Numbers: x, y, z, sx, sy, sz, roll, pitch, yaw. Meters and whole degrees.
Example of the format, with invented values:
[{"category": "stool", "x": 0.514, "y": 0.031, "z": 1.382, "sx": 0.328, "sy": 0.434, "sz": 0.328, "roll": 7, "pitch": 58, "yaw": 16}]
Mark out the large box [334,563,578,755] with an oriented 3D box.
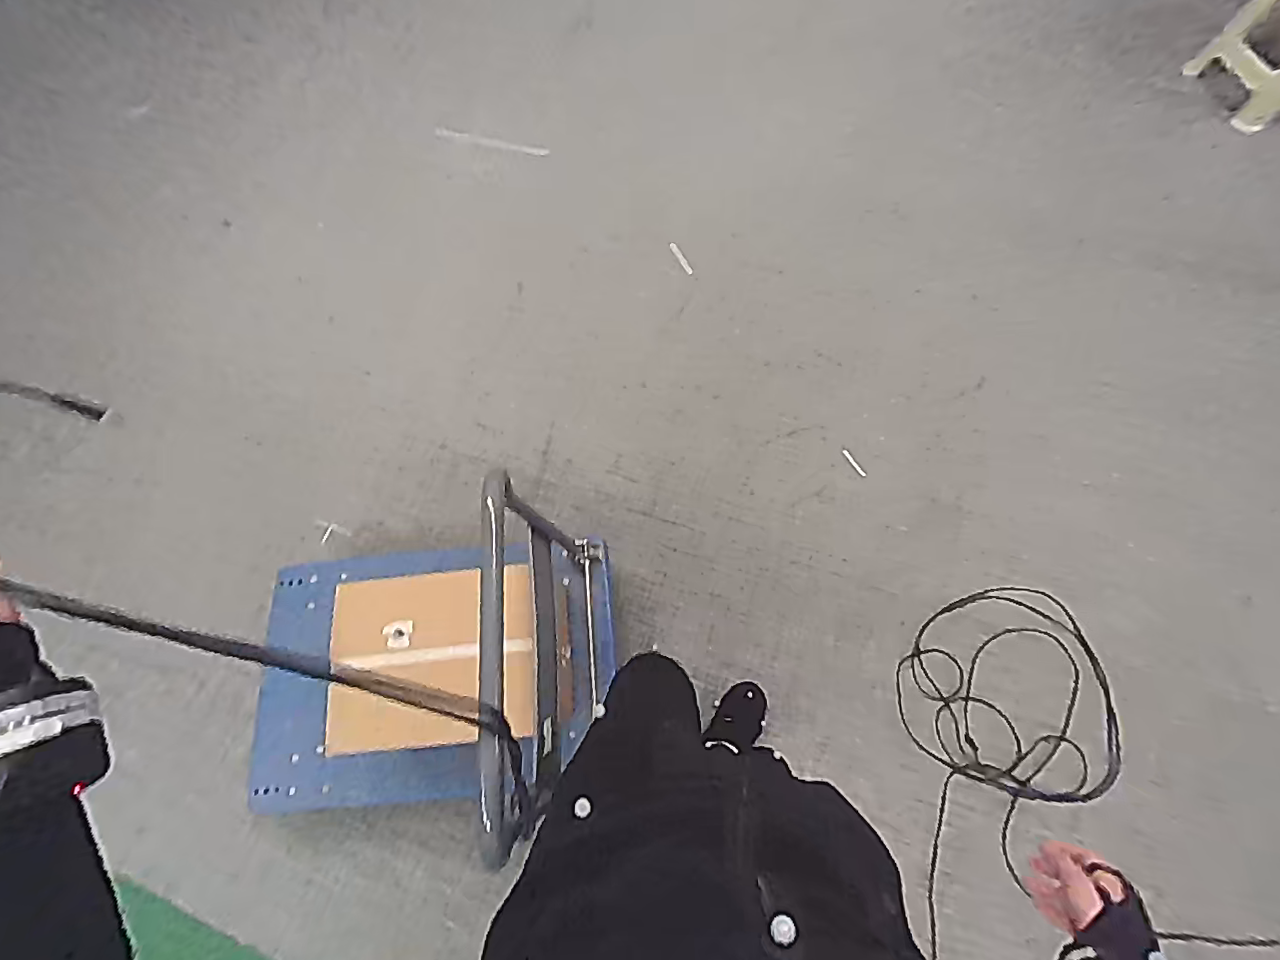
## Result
[{"category": "large box", "x": -0.368, "y": 0.376, "z": 1.165, "sx": 0.408, "sy": 0.320, "sz": 0.320, "roll": -7, "pitch": 72, "yaw": 4}]
